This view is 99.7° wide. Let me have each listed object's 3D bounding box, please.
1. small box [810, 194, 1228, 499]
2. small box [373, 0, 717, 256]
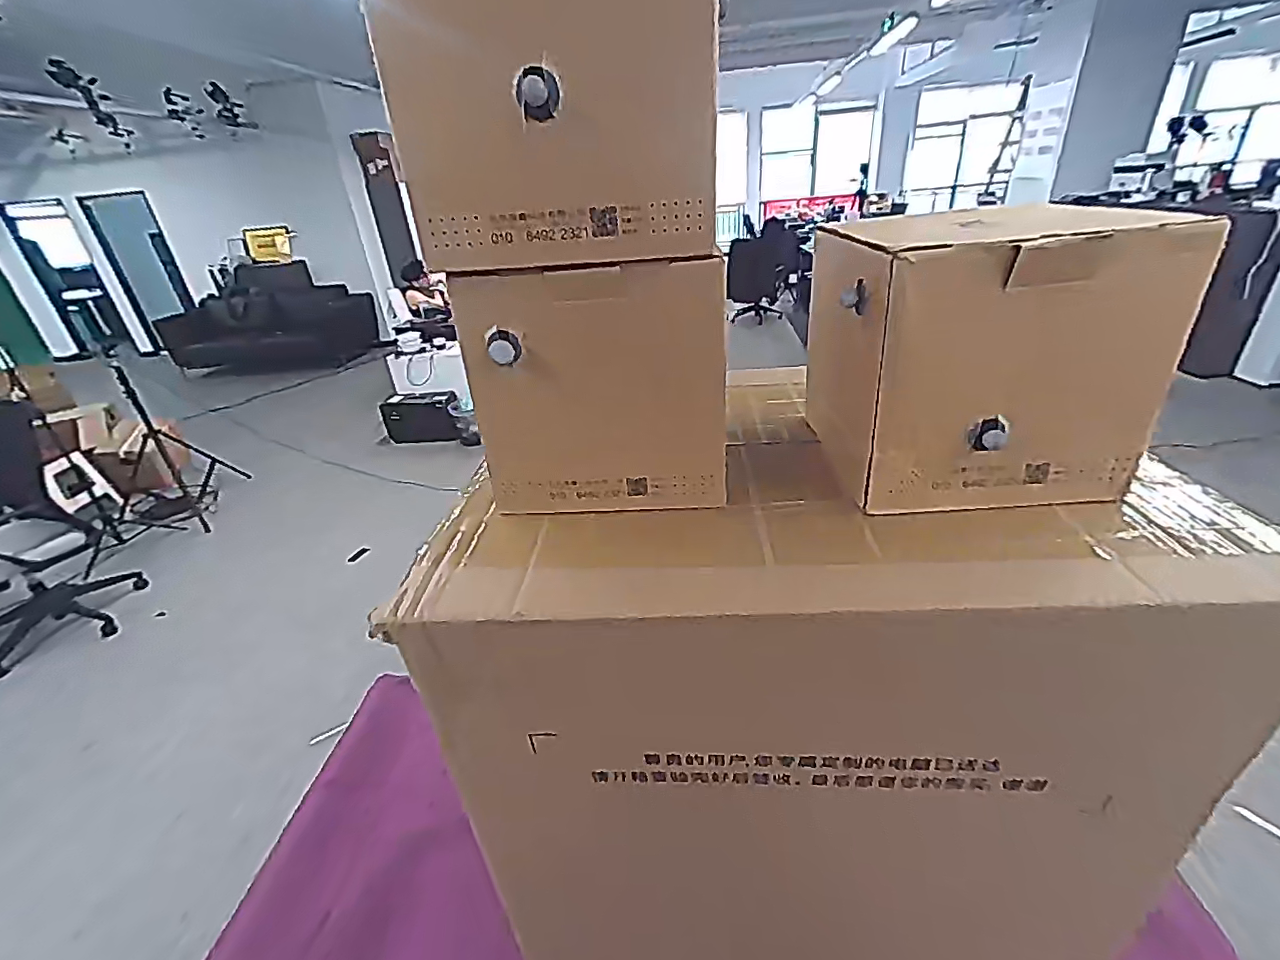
[{"bbox_3d":[0.227,-0.102,0.389,0.168,0.176,0.179,-5,29,4],"label":"small box"},{"bbox_3d":[-0.042,-0.238,0.337,0.168,0.176,0.179,-3,28,2],"label":"small box"}]
